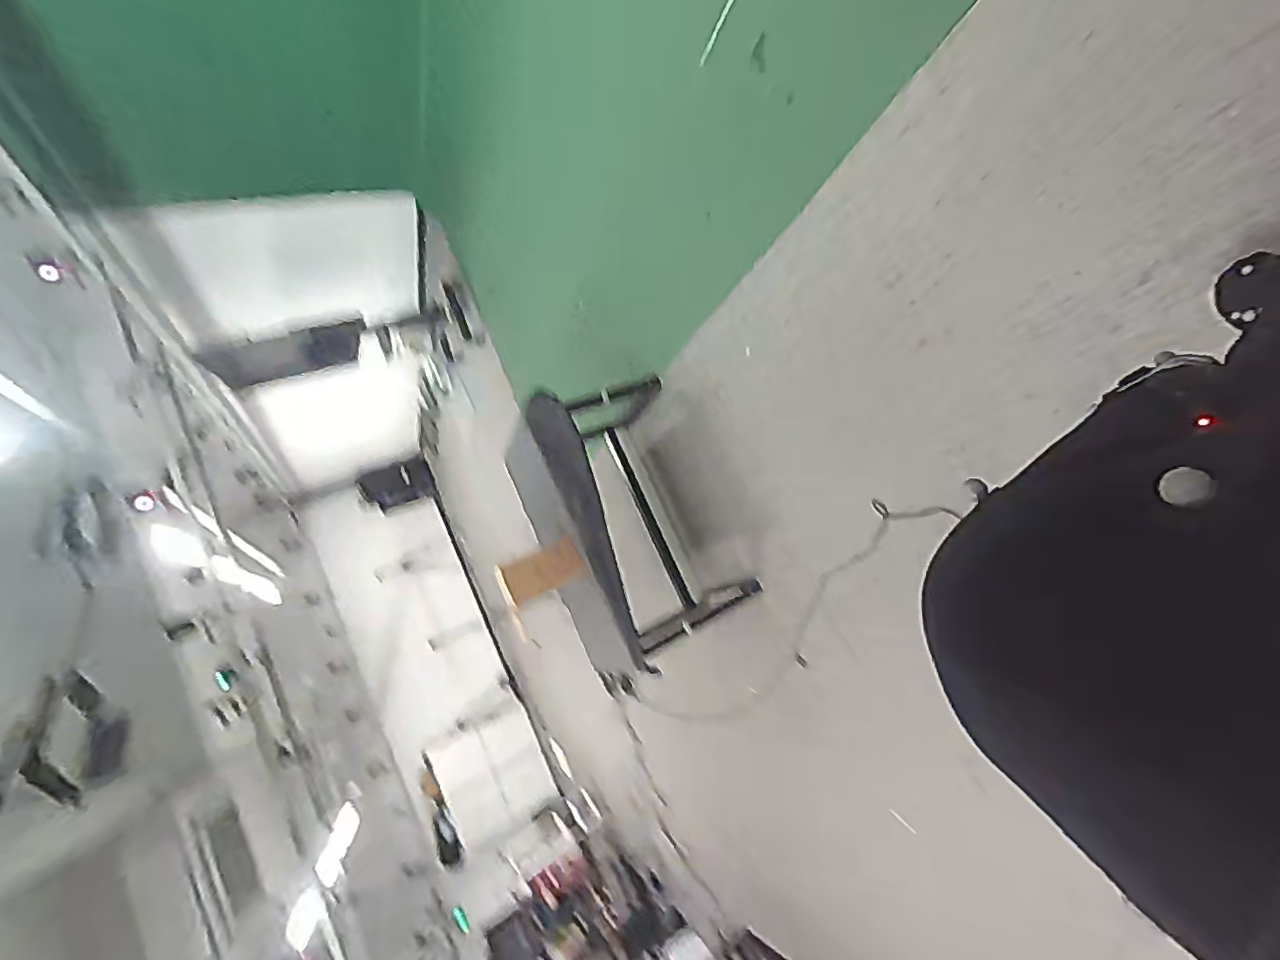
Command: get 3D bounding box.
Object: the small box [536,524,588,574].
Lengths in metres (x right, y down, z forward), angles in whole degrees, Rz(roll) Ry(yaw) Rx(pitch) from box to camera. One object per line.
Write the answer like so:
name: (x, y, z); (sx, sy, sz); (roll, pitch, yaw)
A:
small box: (-0.352, 0.305, 2.391); (0.179, 0.176, 0.168); (63, 155, 7)

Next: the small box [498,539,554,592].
small box: (-0.491, 0.365, 2.329); (0.179, 0.176, 0.168); (65, 155, 7)
